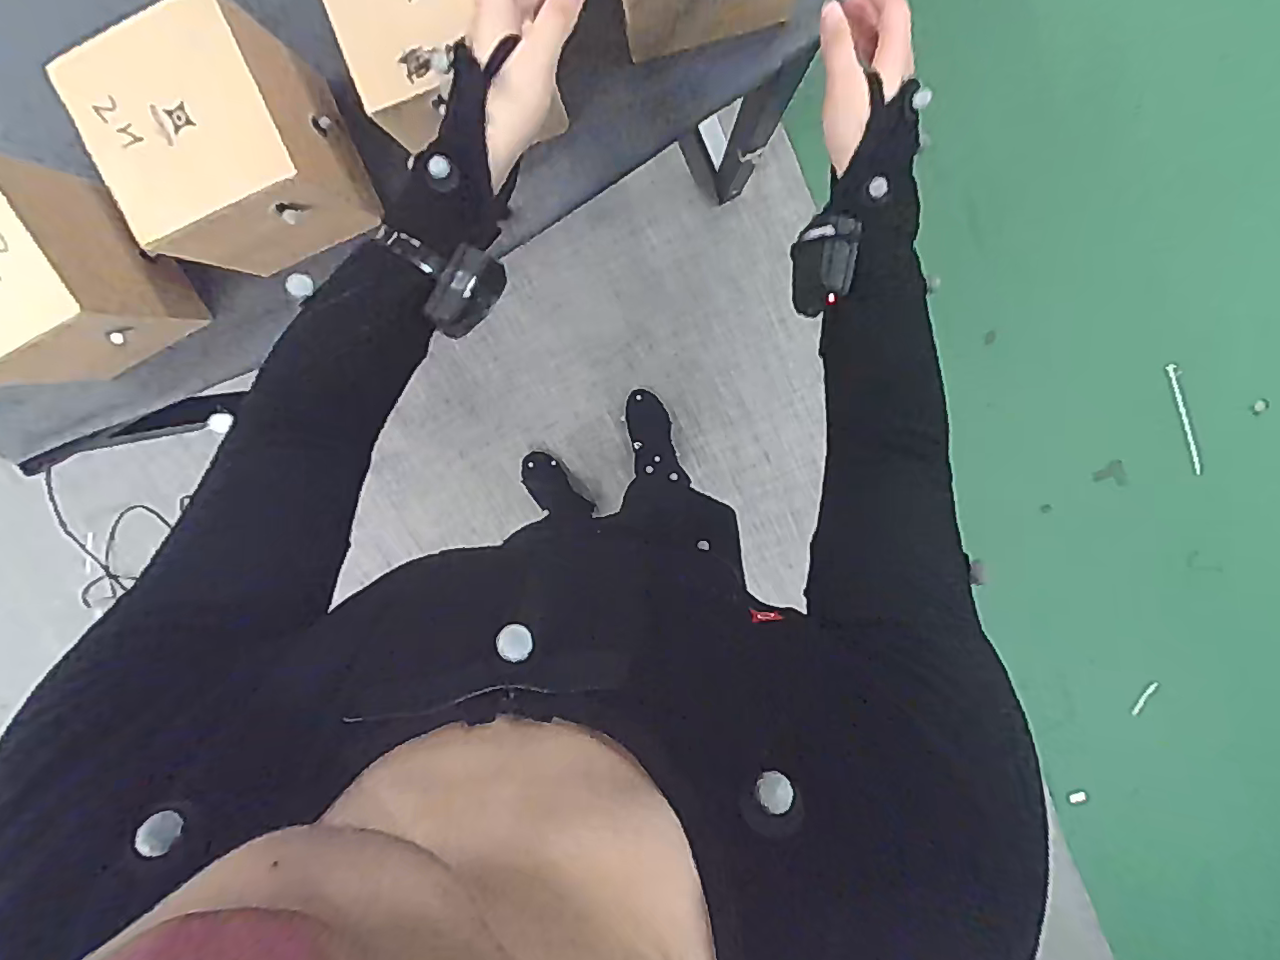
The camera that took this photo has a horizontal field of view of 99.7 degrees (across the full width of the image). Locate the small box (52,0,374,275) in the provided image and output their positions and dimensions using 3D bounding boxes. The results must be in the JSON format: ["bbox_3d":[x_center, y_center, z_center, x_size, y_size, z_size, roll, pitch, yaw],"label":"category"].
[{"bbox_3d":[-0.412,-0.334,0.564,0.179,0.176,0.168,-20,100,7],"label":"small box"}]

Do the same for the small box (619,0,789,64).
[{"bbox_3d":[0.055,-0.535,0.497,0.179,0.176,0.168,-12,99,6],"label":"small box"}]
